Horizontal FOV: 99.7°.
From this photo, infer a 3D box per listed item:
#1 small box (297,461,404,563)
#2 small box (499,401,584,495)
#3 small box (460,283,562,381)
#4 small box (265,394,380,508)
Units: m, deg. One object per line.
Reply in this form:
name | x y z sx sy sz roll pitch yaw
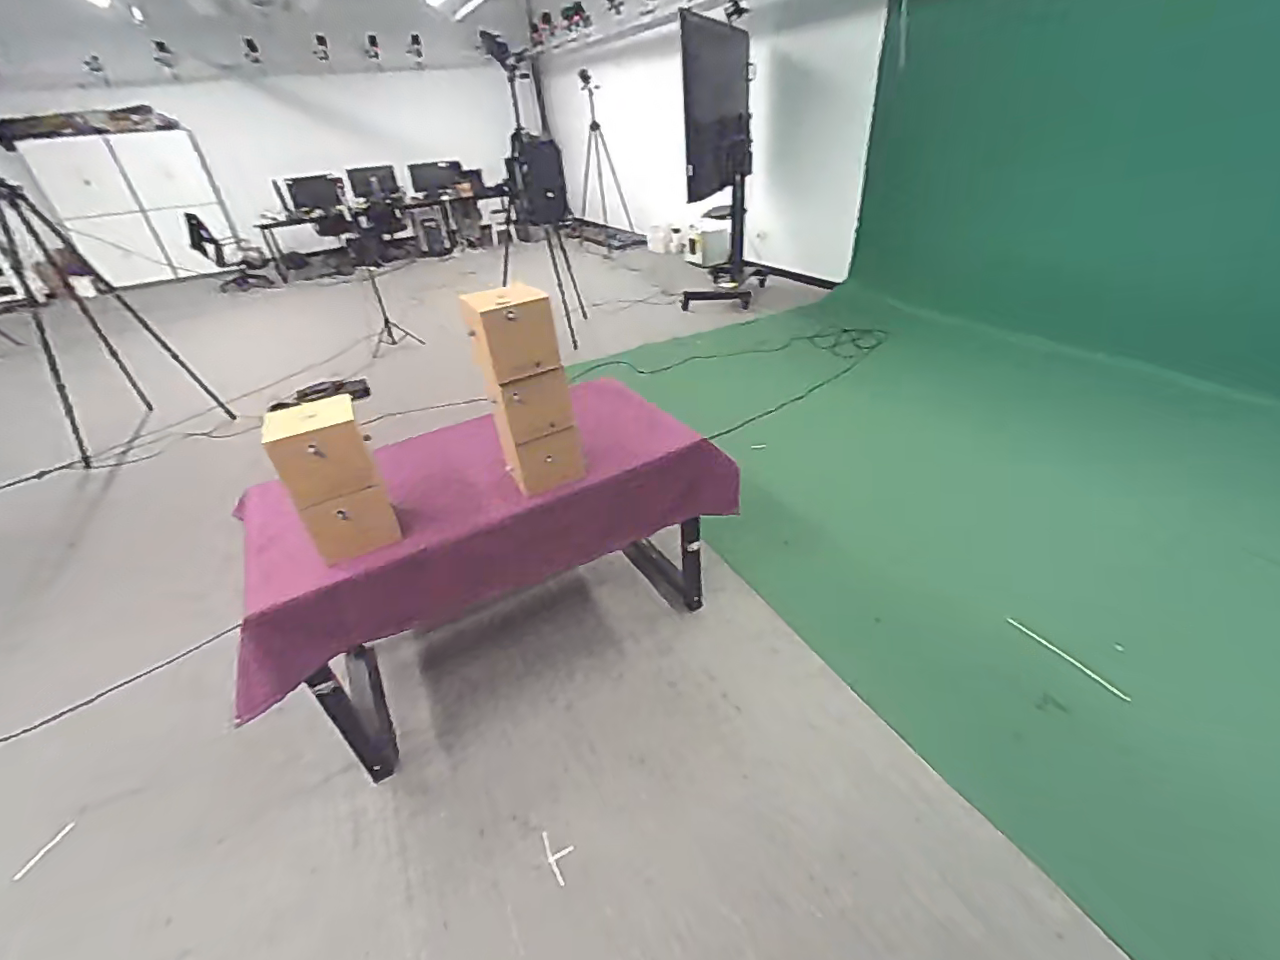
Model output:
small box | -0.690 0.071 1.296 0.179 0.176 0.168 -20 37 -20
small box | -0.262 -0.087 1.466 0.179 0.176 0.168 -21 37 -20
small box | -0.301 -0.348 1.267 0.168 0.176 0.179 -23 36 -22
small box | -0.700 -0.066 1.207 0.179 0.176 0.168 -21 37 -20
